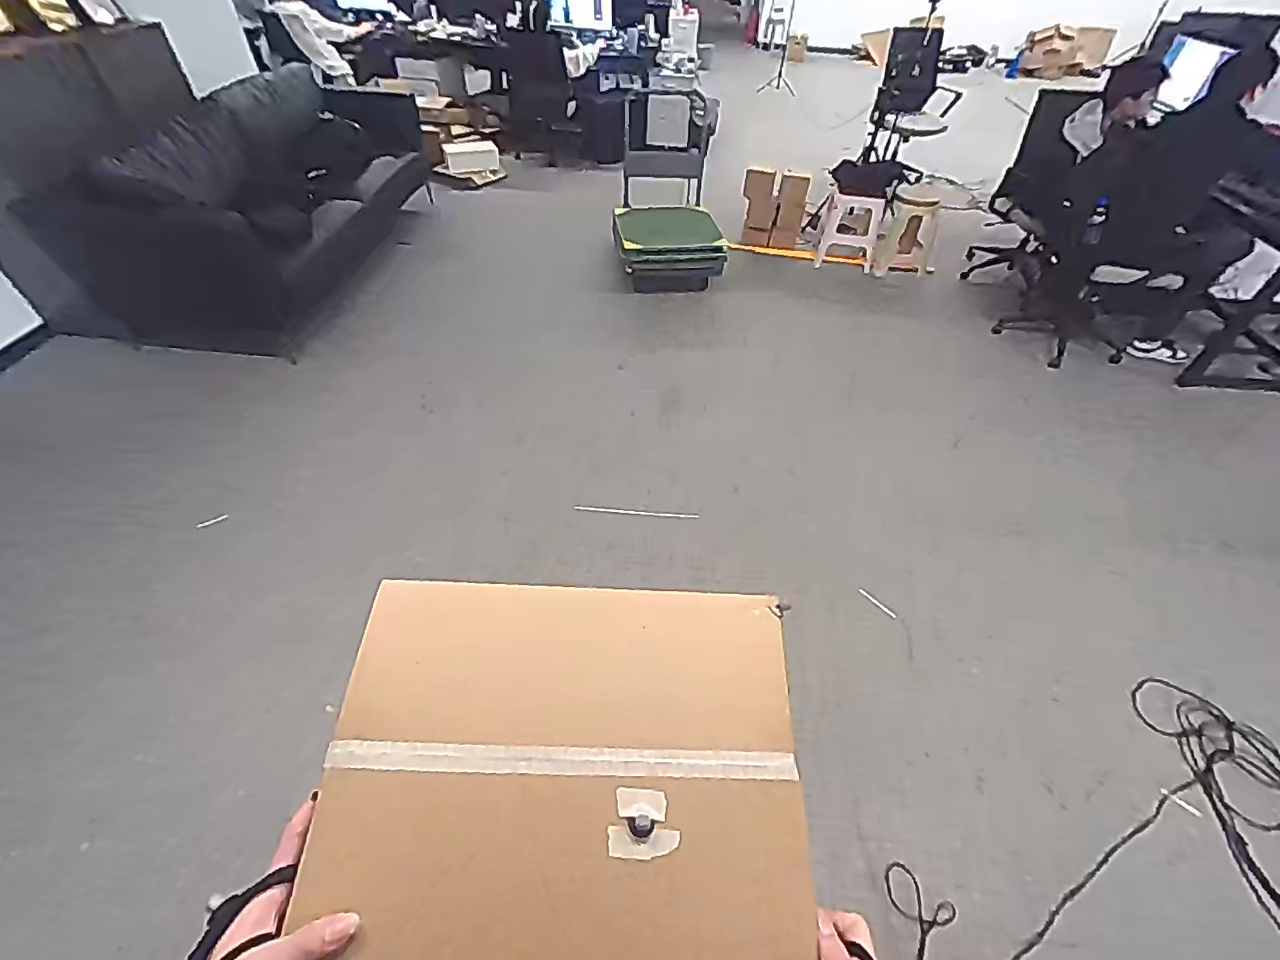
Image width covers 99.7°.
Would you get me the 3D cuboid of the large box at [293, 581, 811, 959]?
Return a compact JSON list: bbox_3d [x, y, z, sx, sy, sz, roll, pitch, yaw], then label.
[{"bbox_3d":[-0.072,0.320,0.613,0.408,0.320,0.320,3,59,-2],"label":"large box"}]
